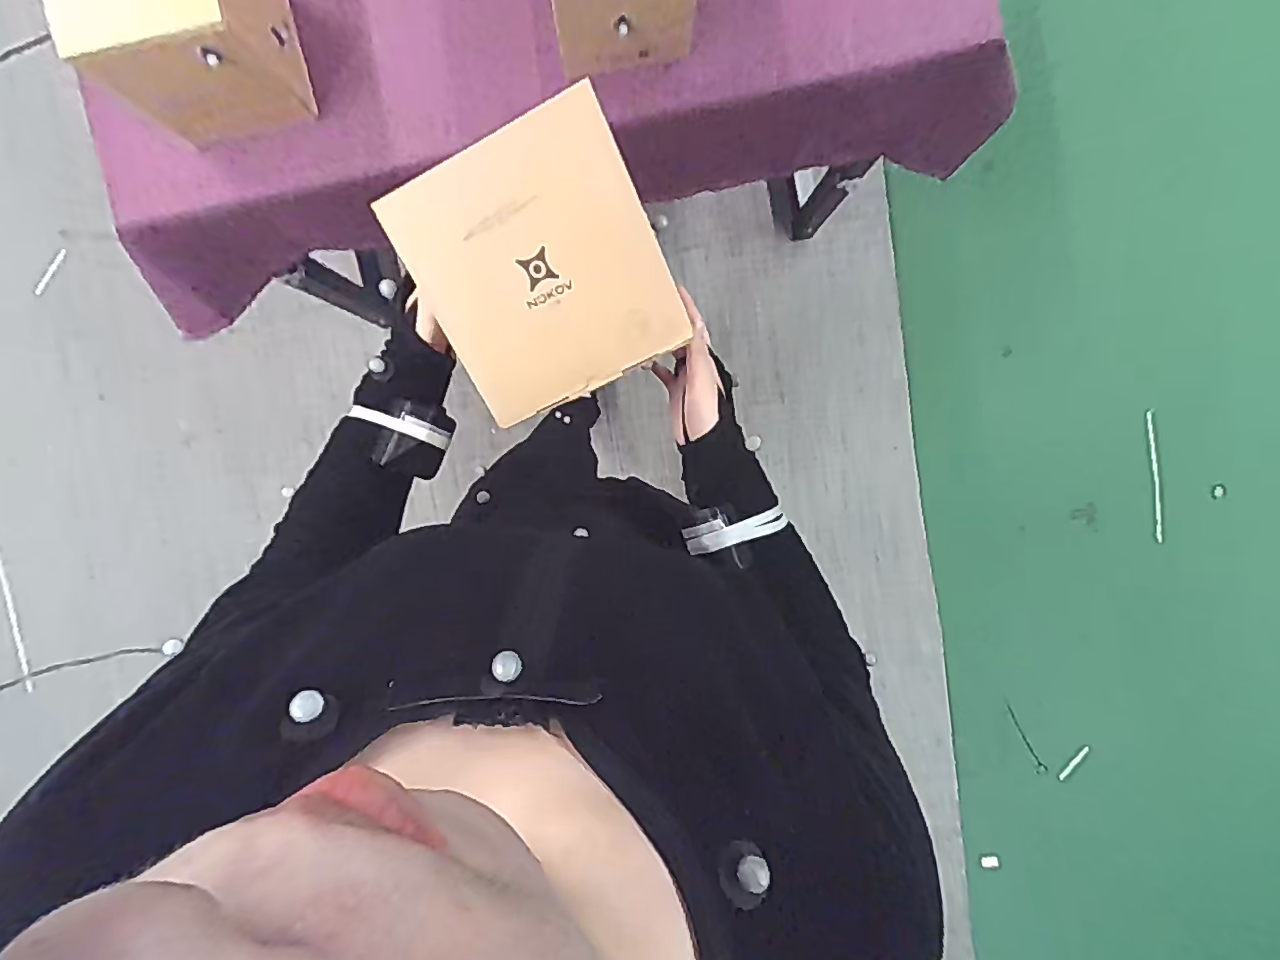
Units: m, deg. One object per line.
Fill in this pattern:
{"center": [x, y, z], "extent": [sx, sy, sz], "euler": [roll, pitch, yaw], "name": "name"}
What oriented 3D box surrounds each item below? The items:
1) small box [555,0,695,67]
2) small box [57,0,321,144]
{"center": [-0.025, -0.623, 0.628], "extent": [0.168, 0.176, 0.179], "euler": [-10, 93, 0], "name": "small box"}
{"center": [-0.520, -0.532, 0.633], "extent": [0.179, 0.176, 0.168], "euler": [-13, 93, 0], "name": "small box"}
